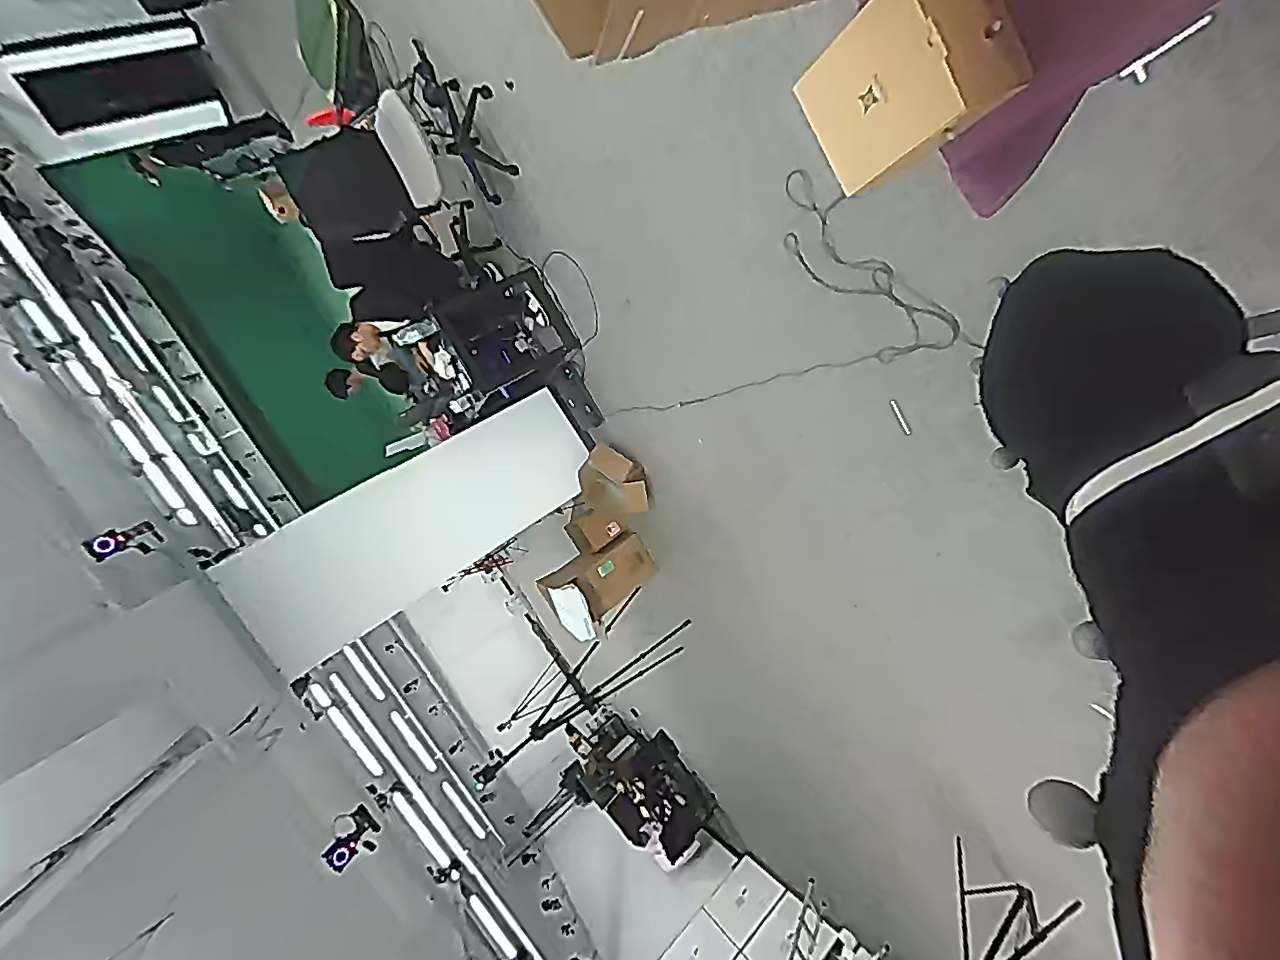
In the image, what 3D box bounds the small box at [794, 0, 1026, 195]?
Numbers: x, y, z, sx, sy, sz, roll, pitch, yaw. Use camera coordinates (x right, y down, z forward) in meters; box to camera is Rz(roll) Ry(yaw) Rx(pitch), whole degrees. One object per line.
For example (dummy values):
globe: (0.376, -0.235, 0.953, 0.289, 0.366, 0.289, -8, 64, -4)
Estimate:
small box: (0.342, -0.511, 0.695, 0.168, 0.176, 0.179, 59, 154, -7)
